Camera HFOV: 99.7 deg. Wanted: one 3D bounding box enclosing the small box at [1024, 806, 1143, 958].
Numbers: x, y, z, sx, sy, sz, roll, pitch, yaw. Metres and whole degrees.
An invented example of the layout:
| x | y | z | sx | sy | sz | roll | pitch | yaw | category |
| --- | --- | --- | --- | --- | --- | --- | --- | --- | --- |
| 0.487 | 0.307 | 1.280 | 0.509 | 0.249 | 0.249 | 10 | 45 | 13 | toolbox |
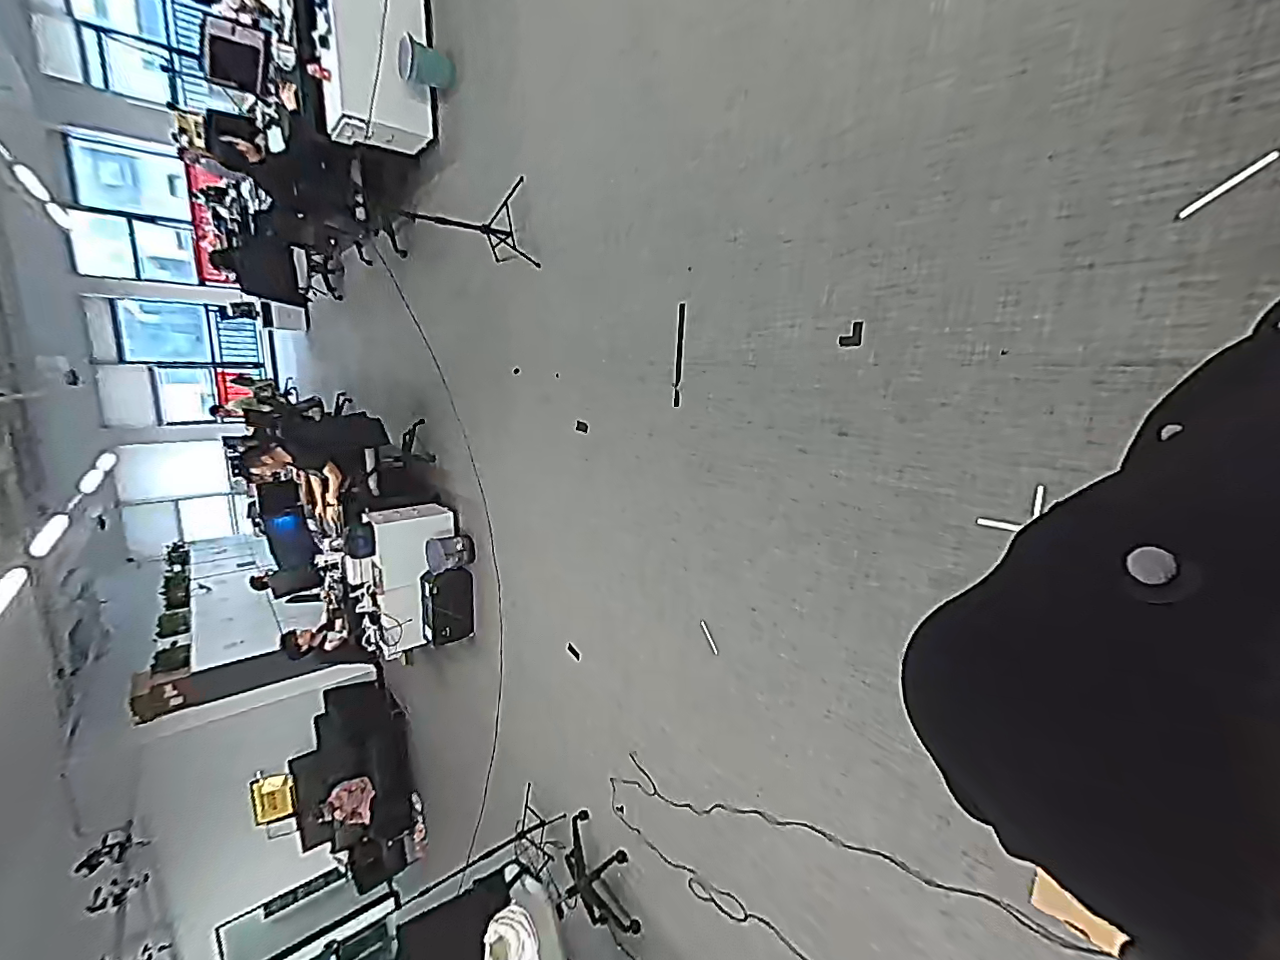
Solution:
| x | y | z | sx | sy | sz | roll | pitch | yaw | category |
| --- | --- | --- | --- | --- | --- | --- | --- | --- | --- |
| 0.998 | 0.891 | 1.215 | 0.168 | 0.176 | 0.179 | 16 | 108 | 47 | small box |
